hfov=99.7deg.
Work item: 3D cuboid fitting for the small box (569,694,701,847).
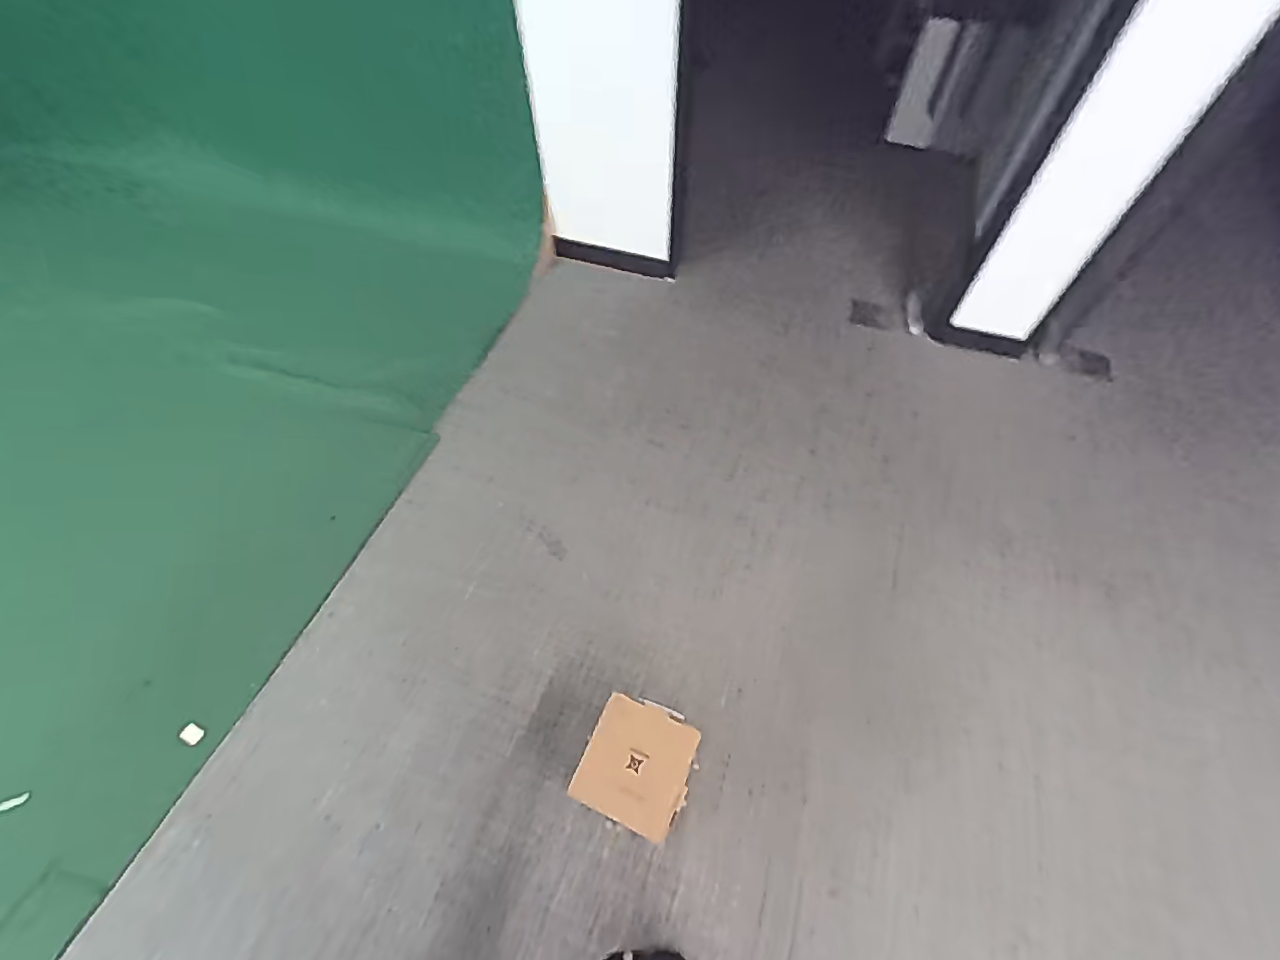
[{"bbox_3d":[-0.004,0.508,0.947,0.168,0.176,0.179,19,60,15],"label":"small box"}]
